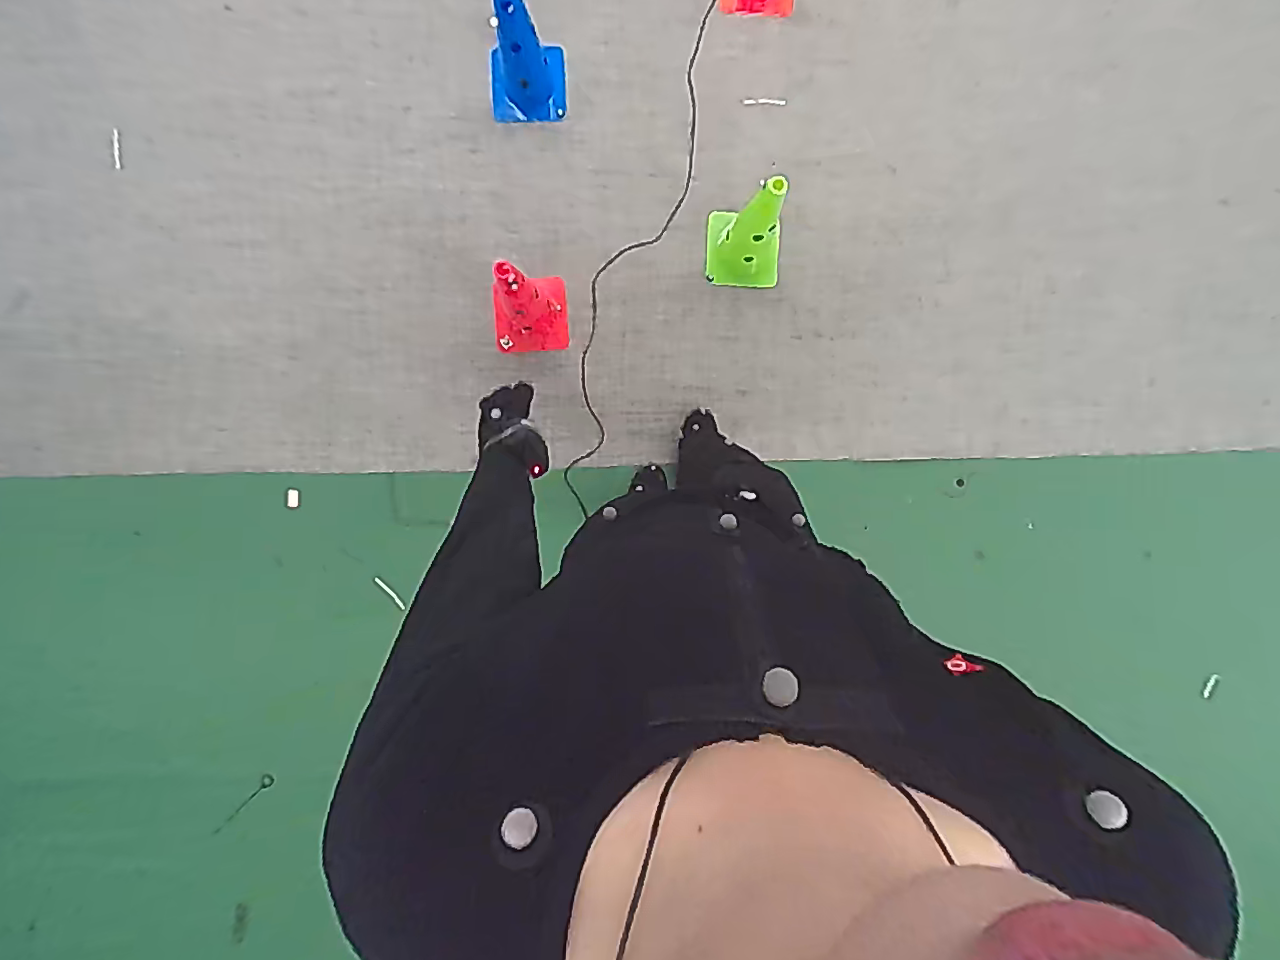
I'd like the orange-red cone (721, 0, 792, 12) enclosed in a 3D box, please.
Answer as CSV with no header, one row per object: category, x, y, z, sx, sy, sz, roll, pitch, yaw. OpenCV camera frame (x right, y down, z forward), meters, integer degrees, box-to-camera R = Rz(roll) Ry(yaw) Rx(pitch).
orange-red cone,0.322,-1.366,1.295,0.198,0.360,0.199,4,93,0

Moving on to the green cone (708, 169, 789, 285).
green cone,0.293,-0.635,1.316,0.200,0.368,0.202,1,91,-2
